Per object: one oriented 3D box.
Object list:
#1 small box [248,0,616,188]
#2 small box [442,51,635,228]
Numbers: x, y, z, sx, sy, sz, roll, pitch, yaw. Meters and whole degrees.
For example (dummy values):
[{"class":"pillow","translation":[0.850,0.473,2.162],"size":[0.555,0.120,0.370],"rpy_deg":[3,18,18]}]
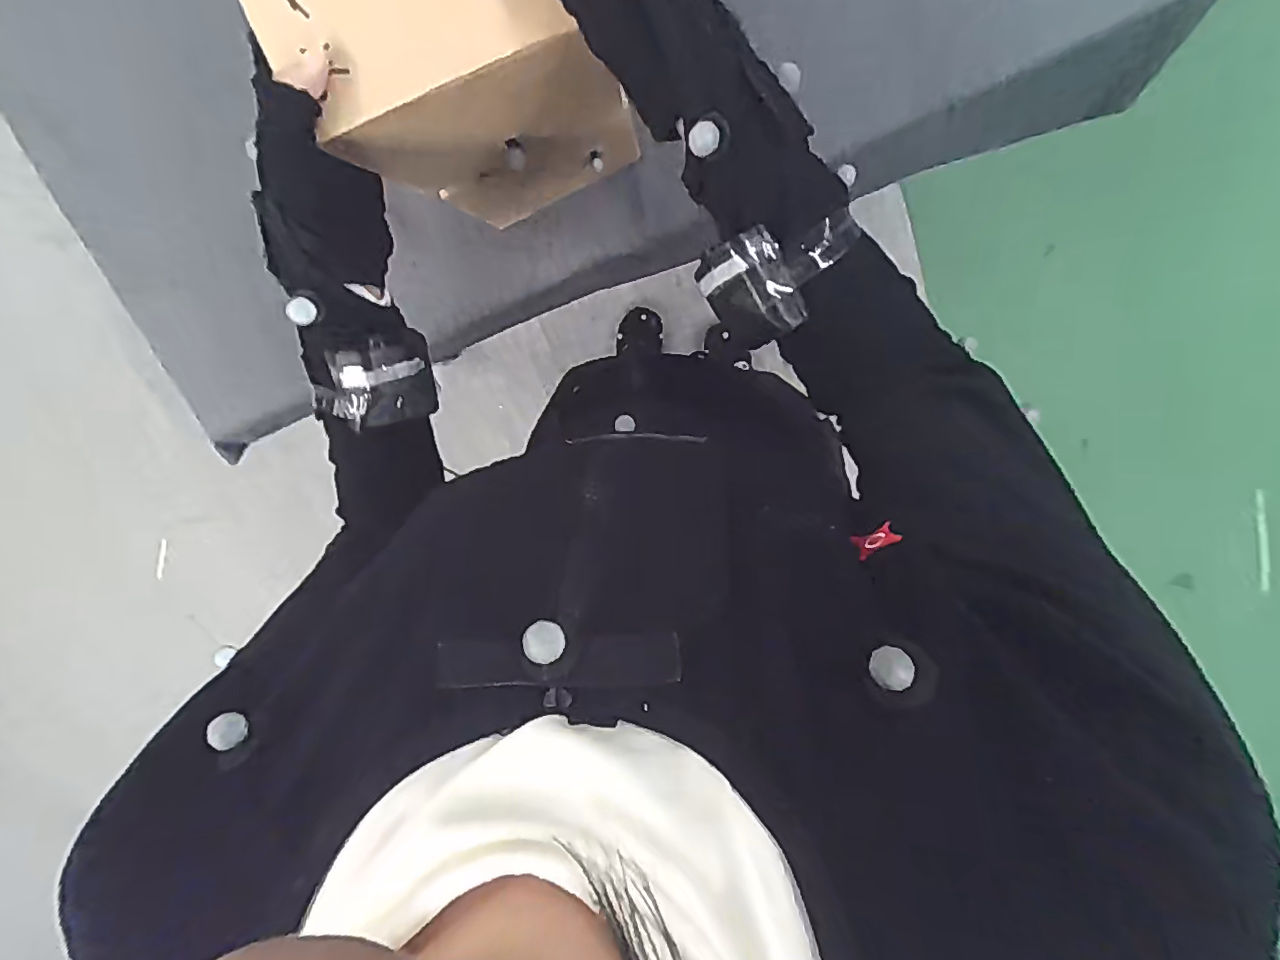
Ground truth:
[{"class":"small box","translation":[-0.120,-0.306,0.333],"size":[0.179,0.176,0.168],"rpy_deg":[-17,107,7]},{"class":"small box","translation":[-0.112,-0.364,0.508],"size":[0.179,0.176,0.168],"rpy_deg":[-22,103,11]}]
